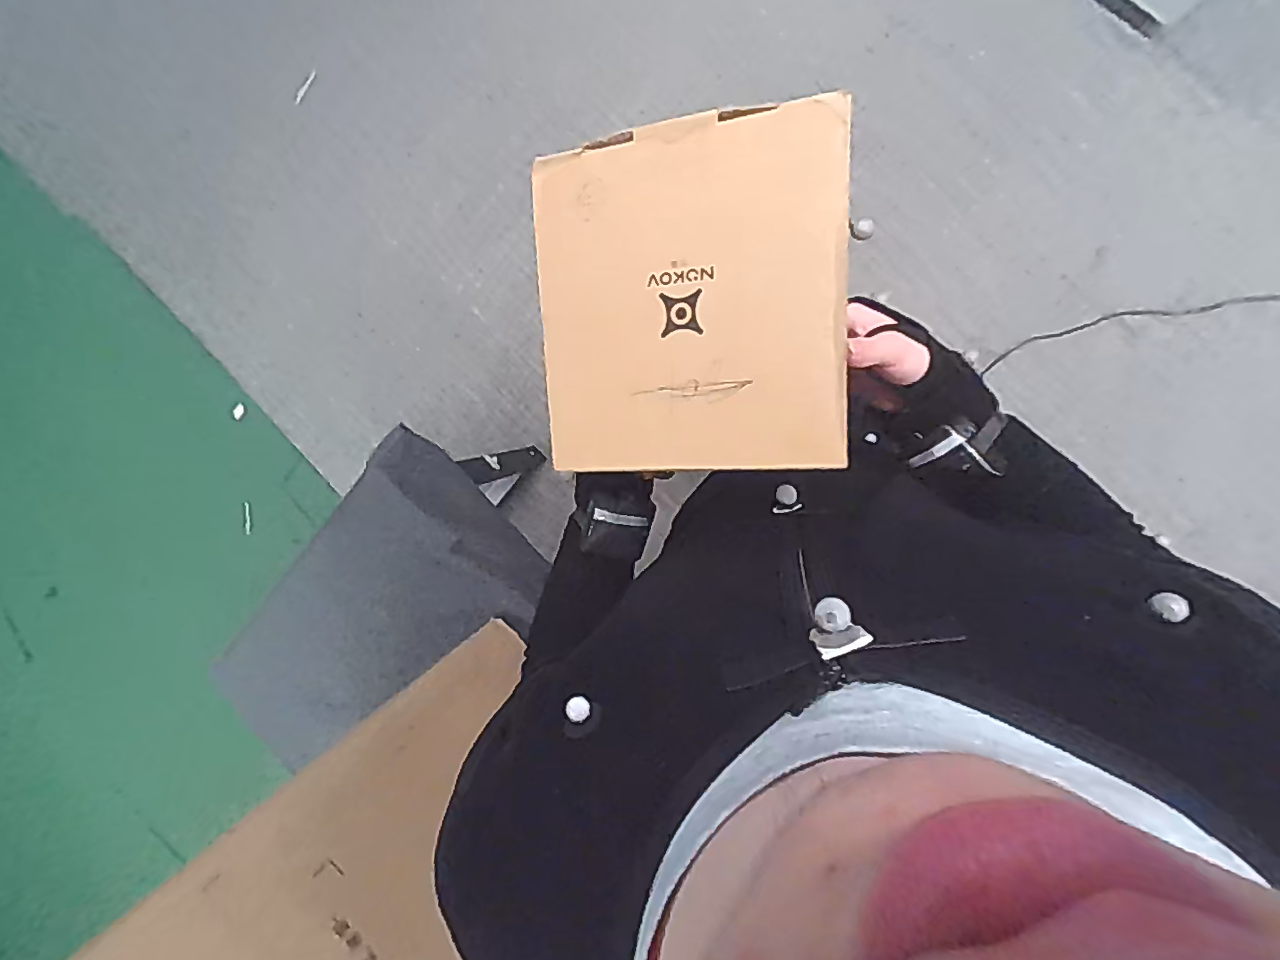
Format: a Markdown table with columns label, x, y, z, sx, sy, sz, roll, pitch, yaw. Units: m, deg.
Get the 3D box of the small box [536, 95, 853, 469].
| label | x | y | z | sx | sy | sz | roll | pitch | yaw |
| --- | --- | --- | --- | --- | --- | --- | --- | --- | --- |
| small box | 0.049 | -0.105 | 0.359 | 0.168 | 0.176 | 0.179 | 1 | 101 | 20 |
